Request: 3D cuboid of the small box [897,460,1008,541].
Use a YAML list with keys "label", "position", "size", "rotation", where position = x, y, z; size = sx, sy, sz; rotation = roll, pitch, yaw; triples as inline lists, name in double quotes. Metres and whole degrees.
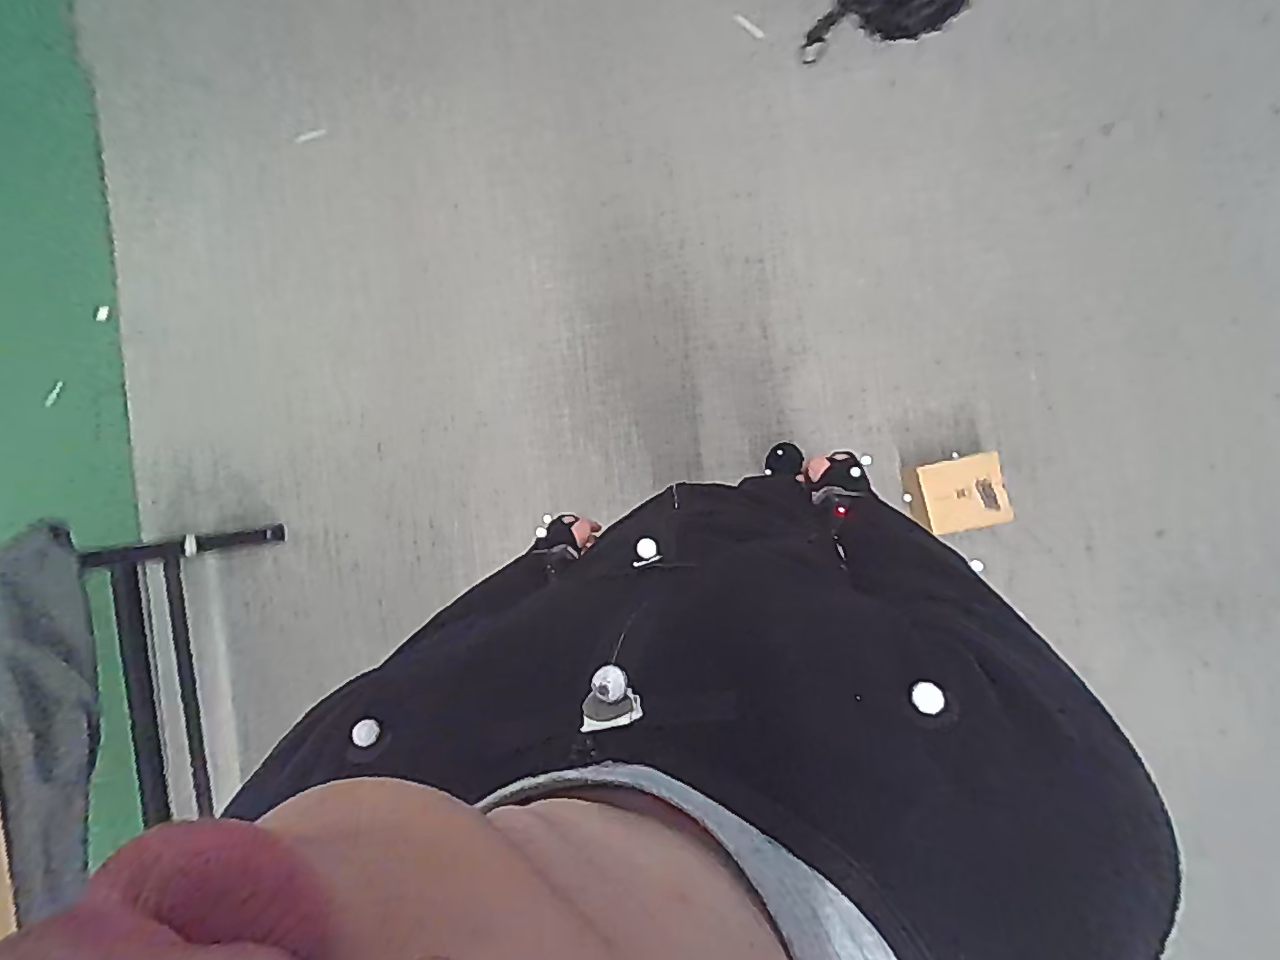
- label: "small box"
  position: [0.765, 0.046, 1.341]
  size: [0.179, 0.176, 0.168]
  rotation: [-13, 87, 12]
